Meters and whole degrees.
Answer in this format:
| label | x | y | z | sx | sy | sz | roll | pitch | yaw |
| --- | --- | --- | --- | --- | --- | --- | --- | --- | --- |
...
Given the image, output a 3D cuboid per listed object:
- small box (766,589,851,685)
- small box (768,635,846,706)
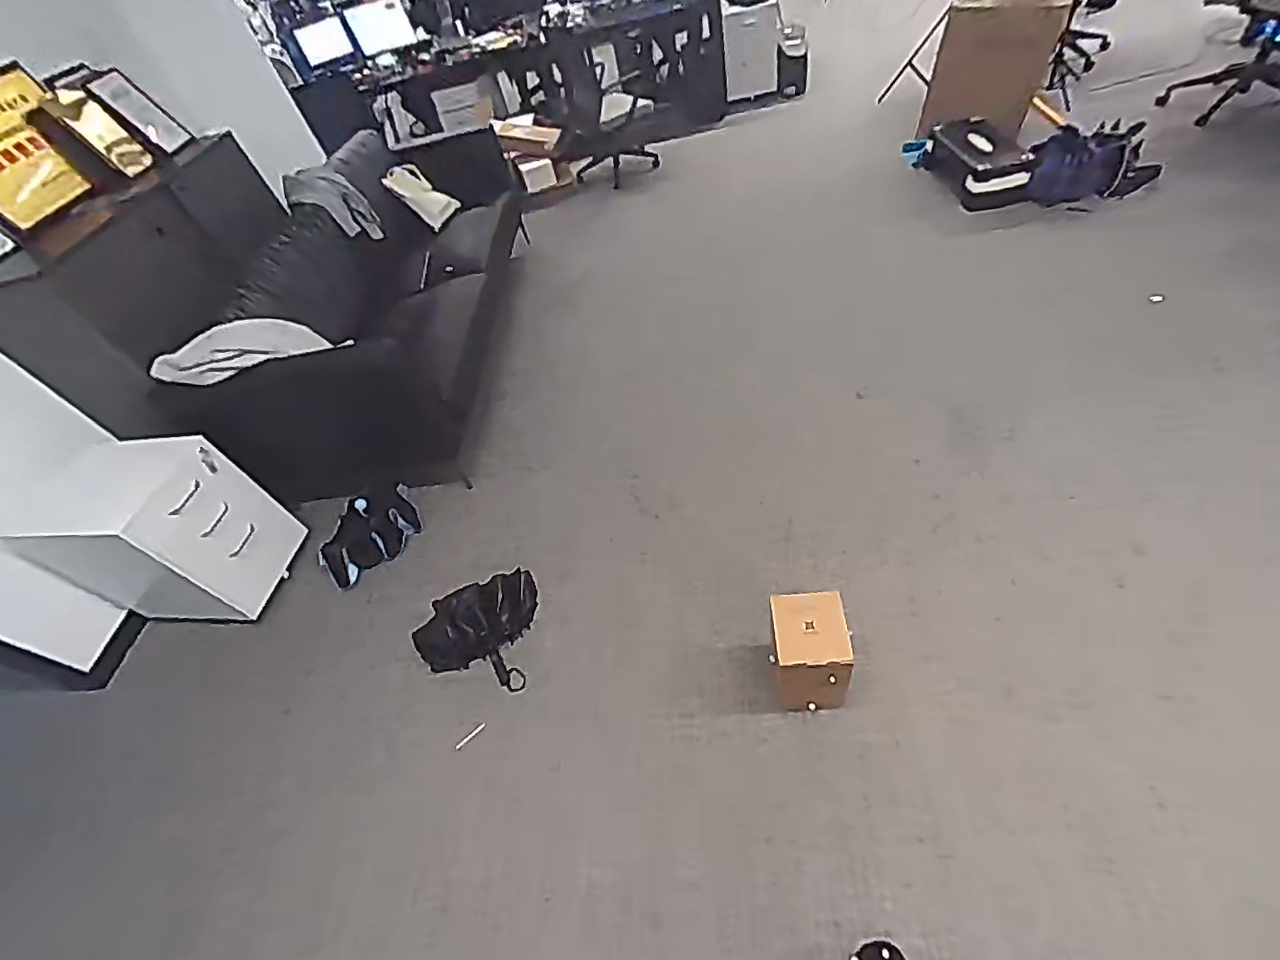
| label | x | y | z | sx | sy | sz | roll | pitch | yaw |
| --- | --- | --- | --- | --- | --- | --- | --- | --- | --- |
| small box | 0.398 | 0.383 | 1.299 | 0.168 | 0.176 | 0.179 | -6 | 50 | 9 |
| small box | 0.432 | 0.479 | 1.426 | 0.168 | 0.176 | 0.179 | -8 | 51 | 9 |
